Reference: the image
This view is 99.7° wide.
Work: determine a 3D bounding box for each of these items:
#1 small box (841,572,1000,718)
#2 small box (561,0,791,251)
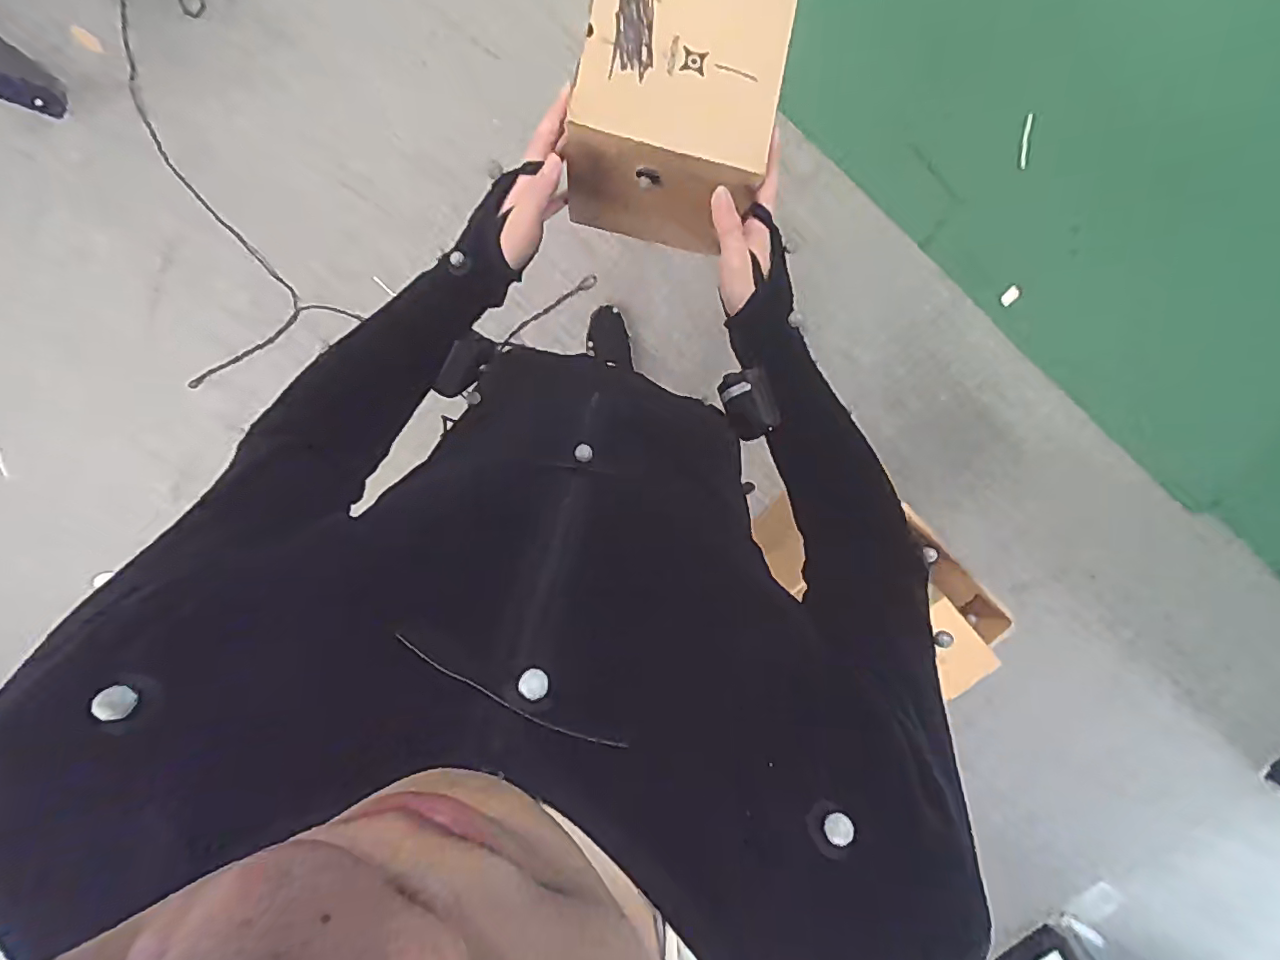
[{"bbox_3d":[0.511,0.295,1.015,0.168,0.176,0.179,-41,100,12],"label":"small box"},{"bbox_3d":[0.025,-0.354,0.539,0.179,0.176,0.168,11,88,-7],"label":"small box"}]
